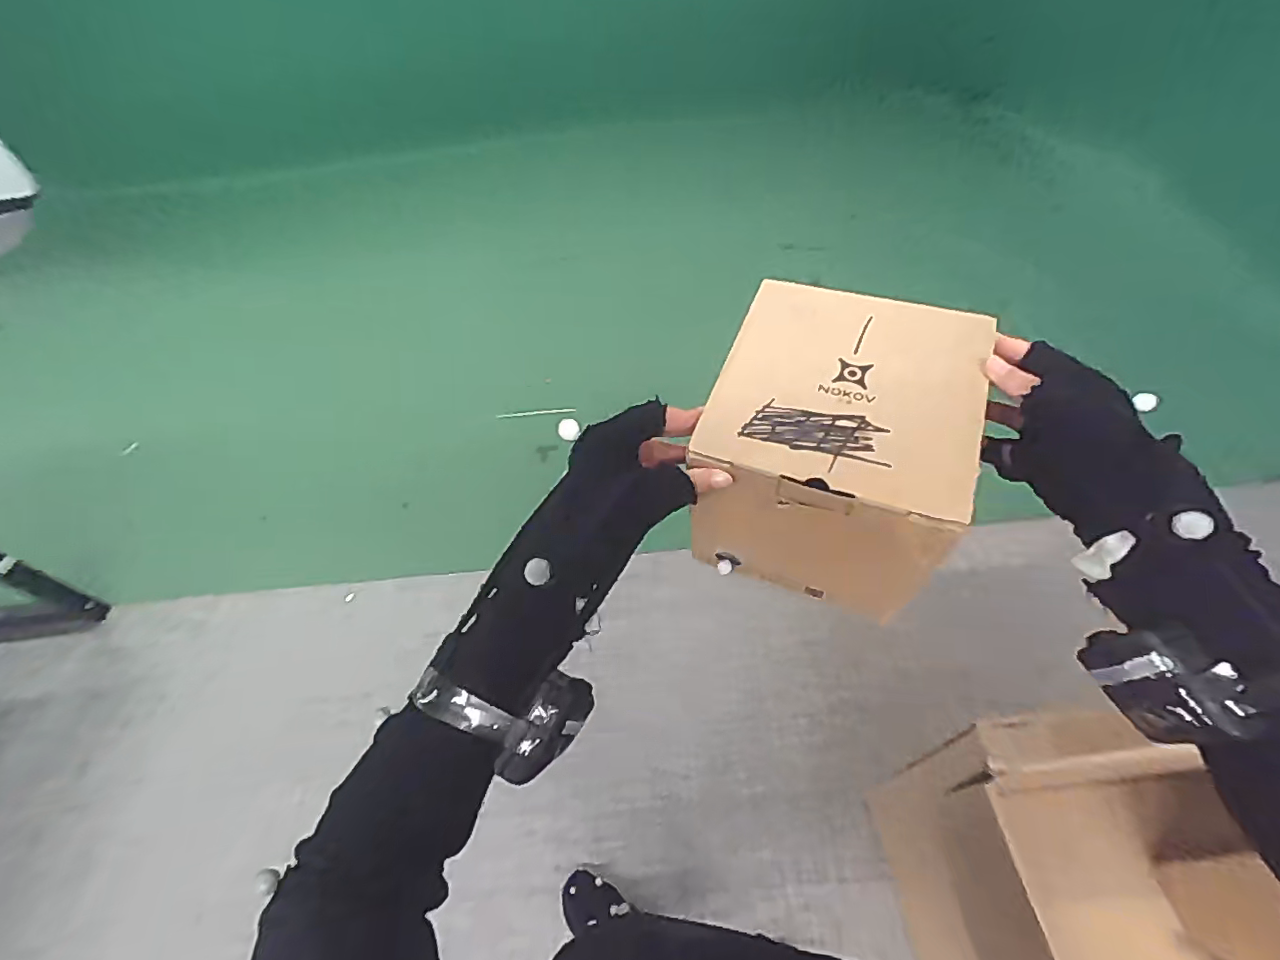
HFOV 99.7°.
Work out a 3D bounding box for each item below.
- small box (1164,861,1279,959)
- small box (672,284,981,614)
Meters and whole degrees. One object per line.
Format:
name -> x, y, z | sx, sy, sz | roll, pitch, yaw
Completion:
small box -> 0.634, 0.437, 0.463 | 0.168, 0.176, 0.179 | -6, 53, -1
small box -> 0.137, -0.019, 0.423 | 0.168, 0.176, 0.179 | 17, 60, 17
